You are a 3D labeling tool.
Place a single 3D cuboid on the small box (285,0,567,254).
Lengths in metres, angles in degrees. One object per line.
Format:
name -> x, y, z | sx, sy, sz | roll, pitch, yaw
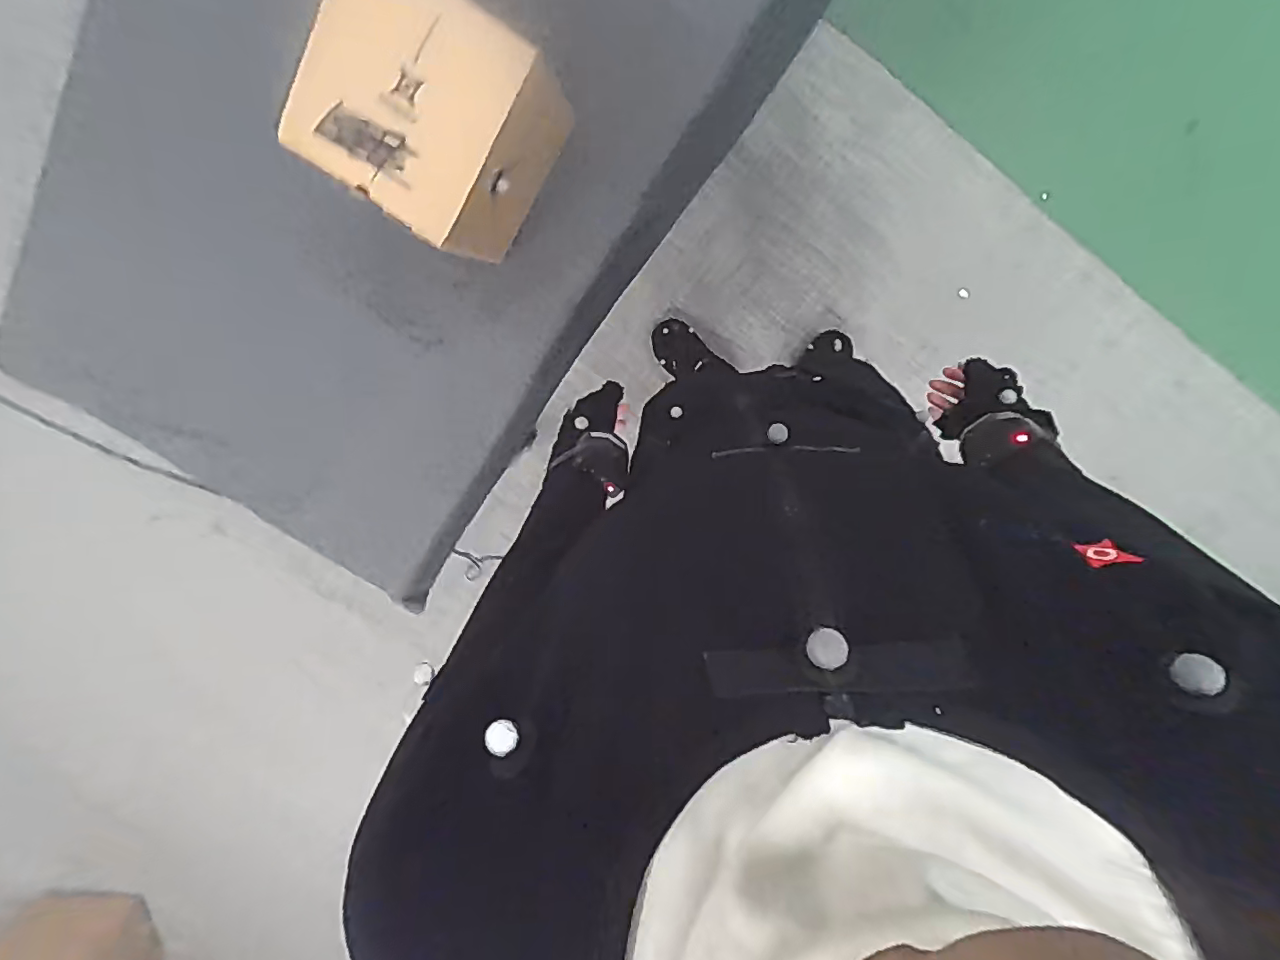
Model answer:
small box -> -0.190, -0.346, 0.529 | 0.168, 0.176, 0.179 | 33, 106, -6
